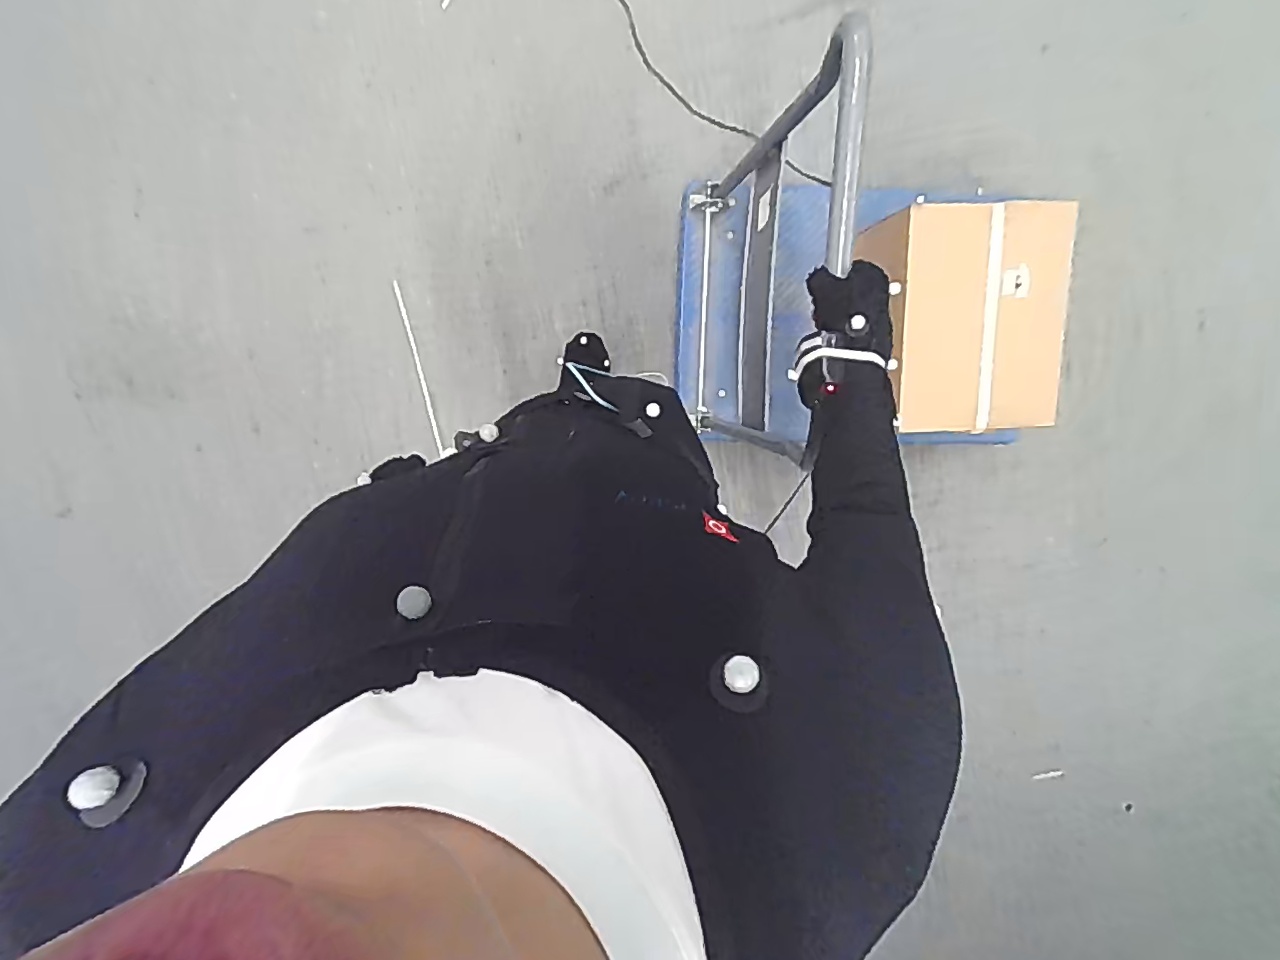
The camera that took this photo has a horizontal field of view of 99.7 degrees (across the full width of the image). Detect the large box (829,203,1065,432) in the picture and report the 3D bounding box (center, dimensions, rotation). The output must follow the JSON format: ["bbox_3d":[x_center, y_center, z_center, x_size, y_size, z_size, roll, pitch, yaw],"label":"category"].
[{"bbox_3d":[0.608,-0.317,1.137,0.320,0.320,0.408,-3,100,-5],"label":"large box"}]
